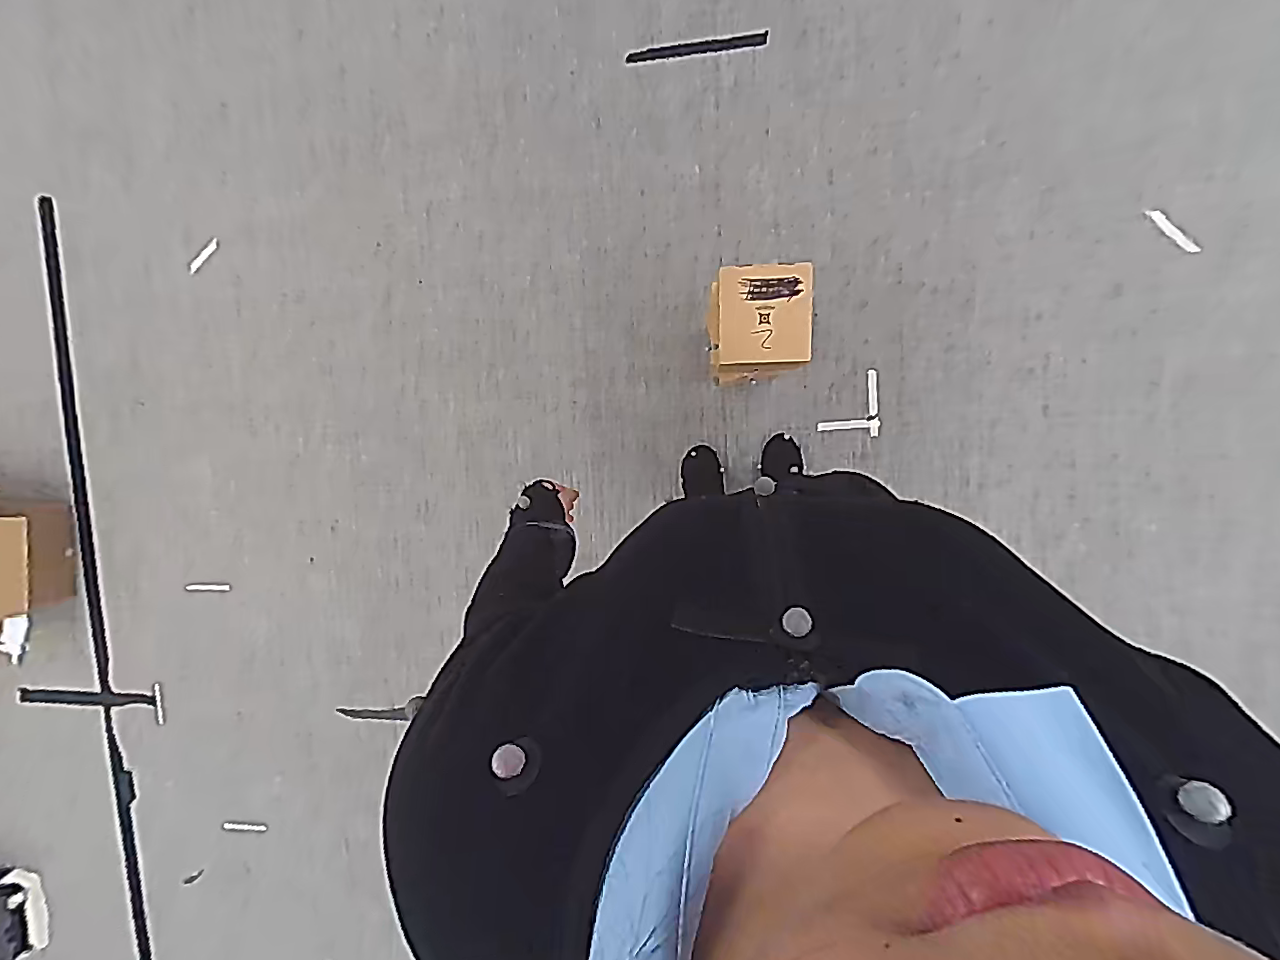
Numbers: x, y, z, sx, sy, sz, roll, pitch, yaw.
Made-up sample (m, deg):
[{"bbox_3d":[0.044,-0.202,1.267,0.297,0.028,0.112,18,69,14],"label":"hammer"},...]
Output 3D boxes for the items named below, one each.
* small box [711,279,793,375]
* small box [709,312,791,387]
[{"bbox_3d":[0.245,-0.335,1.207,0.168,0.176,0.179,-1,95,7],"label":"small box"},{"bbox_3d":[0.271,-0.343,1.368,0.168,0.176,0.179,-13,94,8],"label":"small box"}]
